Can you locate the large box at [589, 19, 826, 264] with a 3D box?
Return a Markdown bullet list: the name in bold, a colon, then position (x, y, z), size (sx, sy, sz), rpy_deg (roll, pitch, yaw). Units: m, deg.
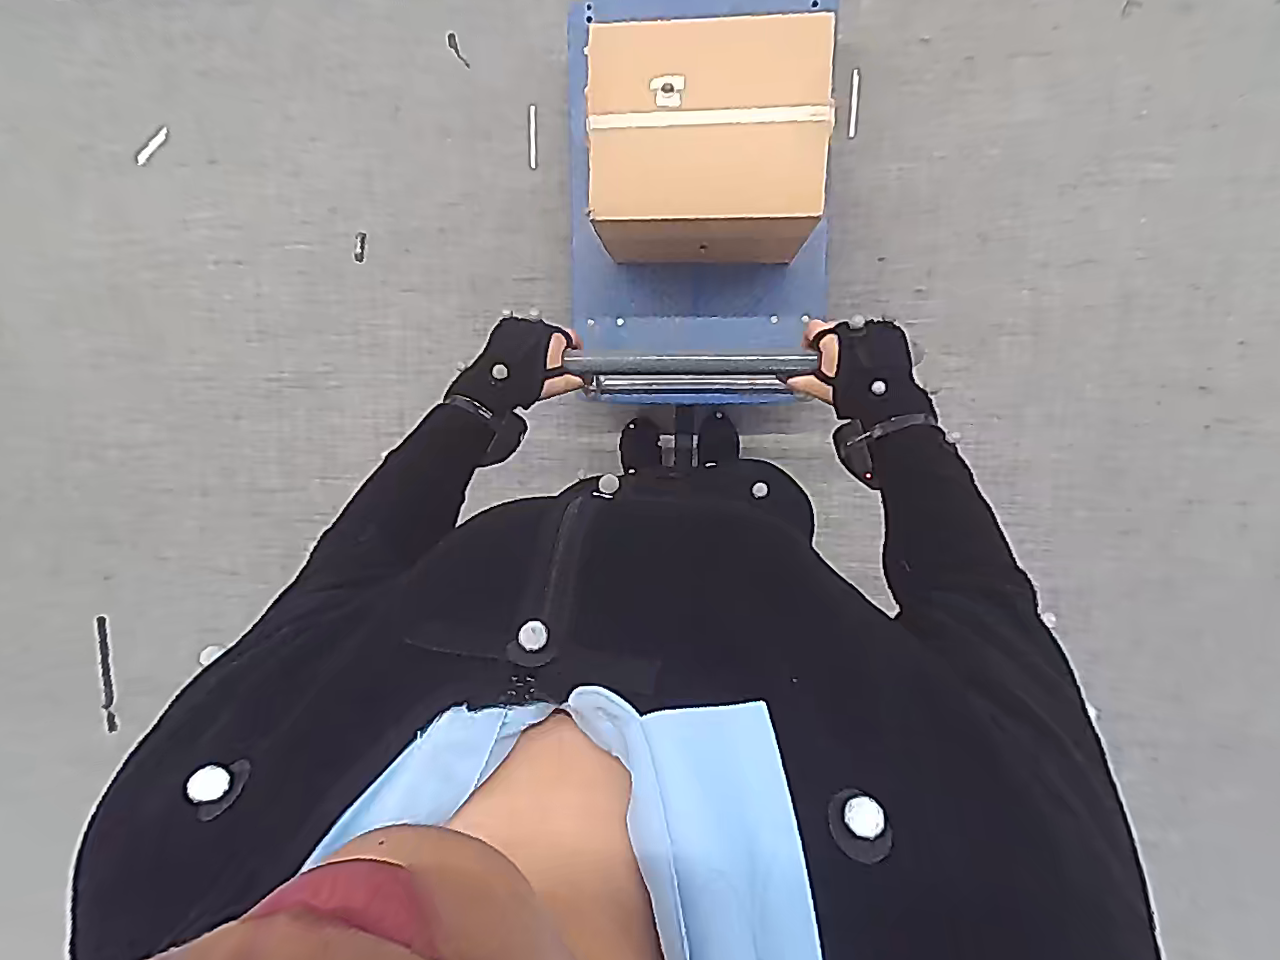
- **large box**: position (0.128, -0.627, 1.073), size (0.408, 0.320, 0.320), rpy_deg (1, 97, 6)
